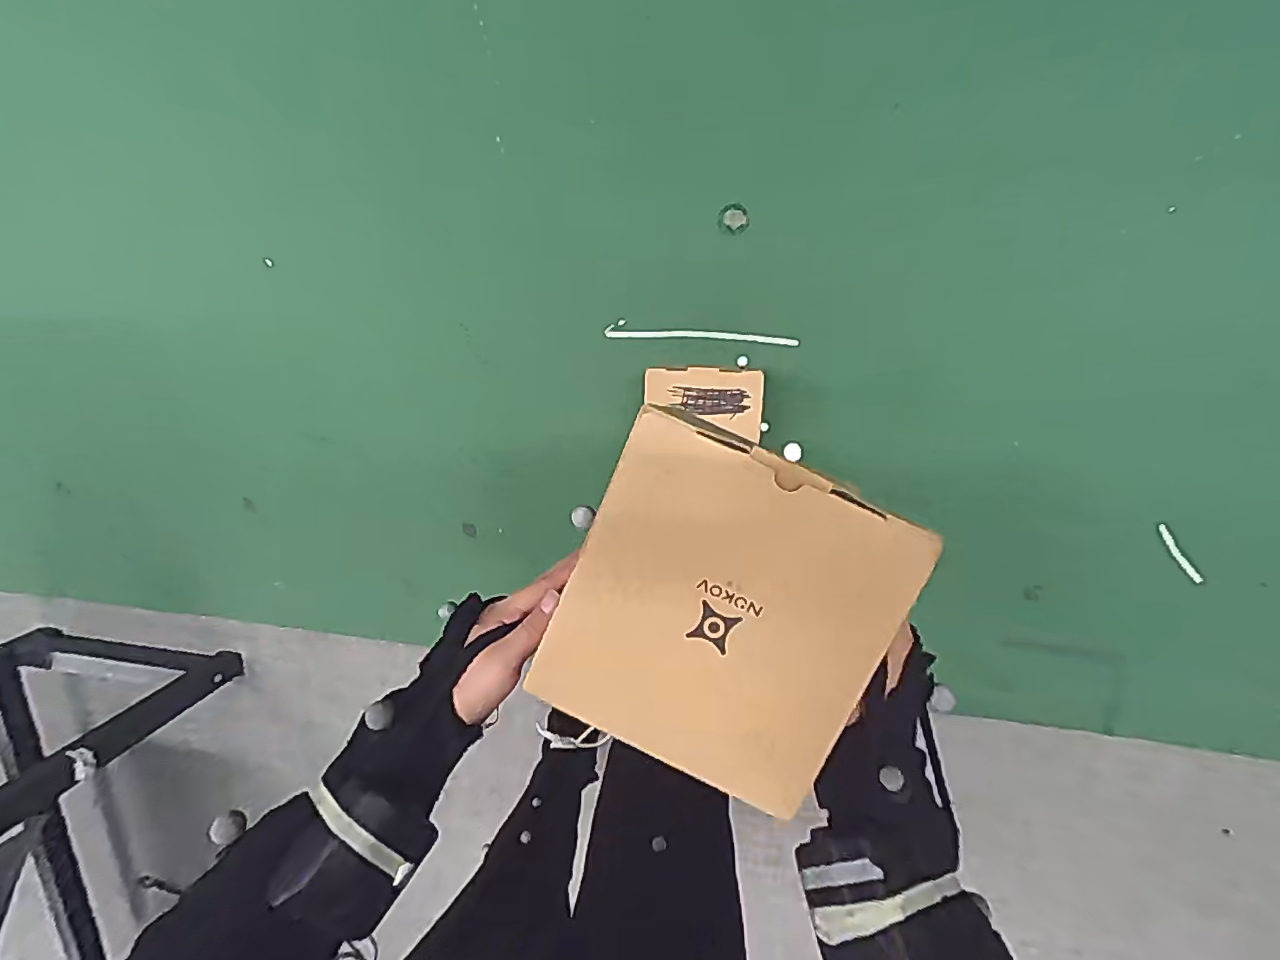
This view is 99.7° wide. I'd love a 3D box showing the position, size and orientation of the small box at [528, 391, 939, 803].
[{"bbox_3d":[0.054,0.056,0.363,0.168,0.176,0.179,24,99,5],"label":"small box"}]
